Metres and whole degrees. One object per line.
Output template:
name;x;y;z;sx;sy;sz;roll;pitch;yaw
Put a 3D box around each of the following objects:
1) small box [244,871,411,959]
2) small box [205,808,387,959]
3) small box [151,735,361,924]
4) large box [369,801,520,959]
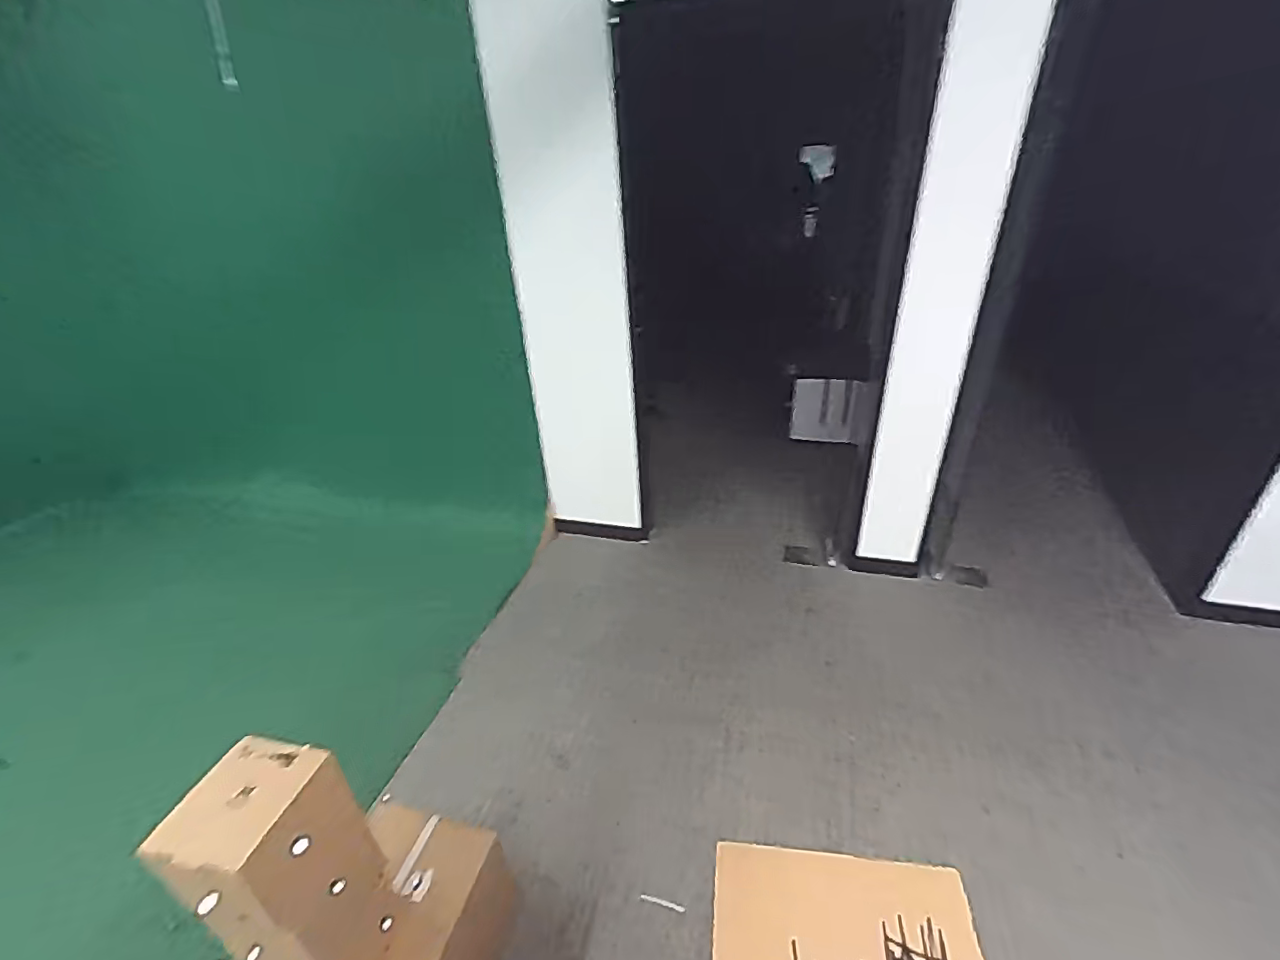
small box;-0.550;0.819;0.980;0.179;0.176;0.168;4;29;15
small box;-0.556;0.673;0.906;0.168;0.176;0.179;3;29;11
small box;-0.564;0.530;0.825;0.168;0.176;0.179;4;30;13
large box;-0.501;0.999;1.152;0.320;0.320;0.408;5;29;15
